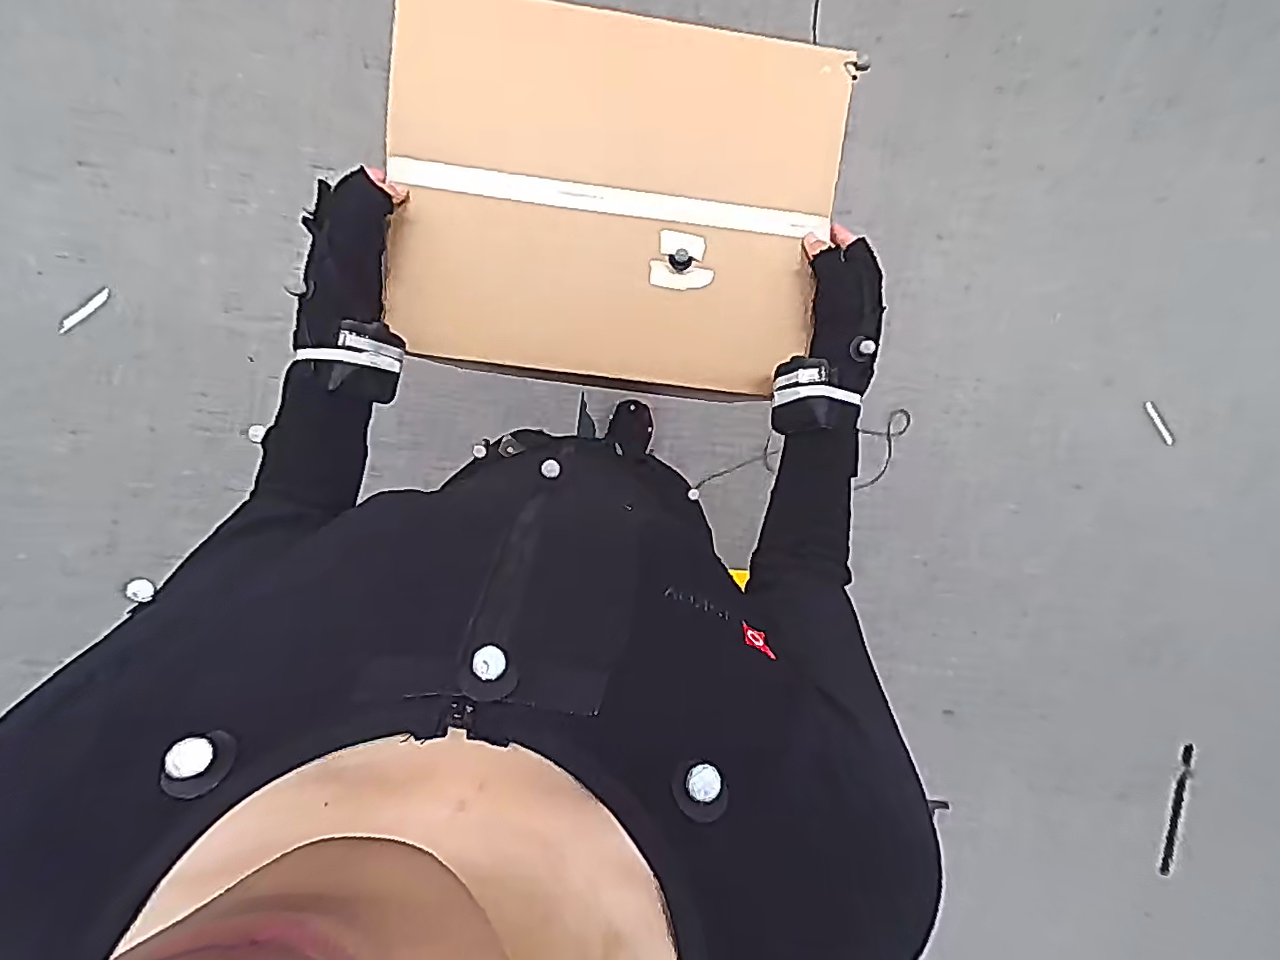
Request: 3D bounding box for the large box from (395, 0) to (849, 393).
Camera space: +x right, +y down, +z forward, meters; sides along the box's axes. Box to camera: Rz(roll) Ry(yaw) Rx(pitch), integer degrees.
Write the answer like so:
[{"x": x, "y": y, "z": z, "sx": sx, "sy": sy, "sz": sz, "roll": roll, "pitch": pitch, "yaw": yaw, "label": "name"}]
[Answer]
[{"x": -0.029, "y": -0.281, "z": 0.646, "sx": 0.408, "sy": 0.320, "sz": 0.320, "roll": 6, "pitch": 98, "yaw": -4, "label": "large box"}]
